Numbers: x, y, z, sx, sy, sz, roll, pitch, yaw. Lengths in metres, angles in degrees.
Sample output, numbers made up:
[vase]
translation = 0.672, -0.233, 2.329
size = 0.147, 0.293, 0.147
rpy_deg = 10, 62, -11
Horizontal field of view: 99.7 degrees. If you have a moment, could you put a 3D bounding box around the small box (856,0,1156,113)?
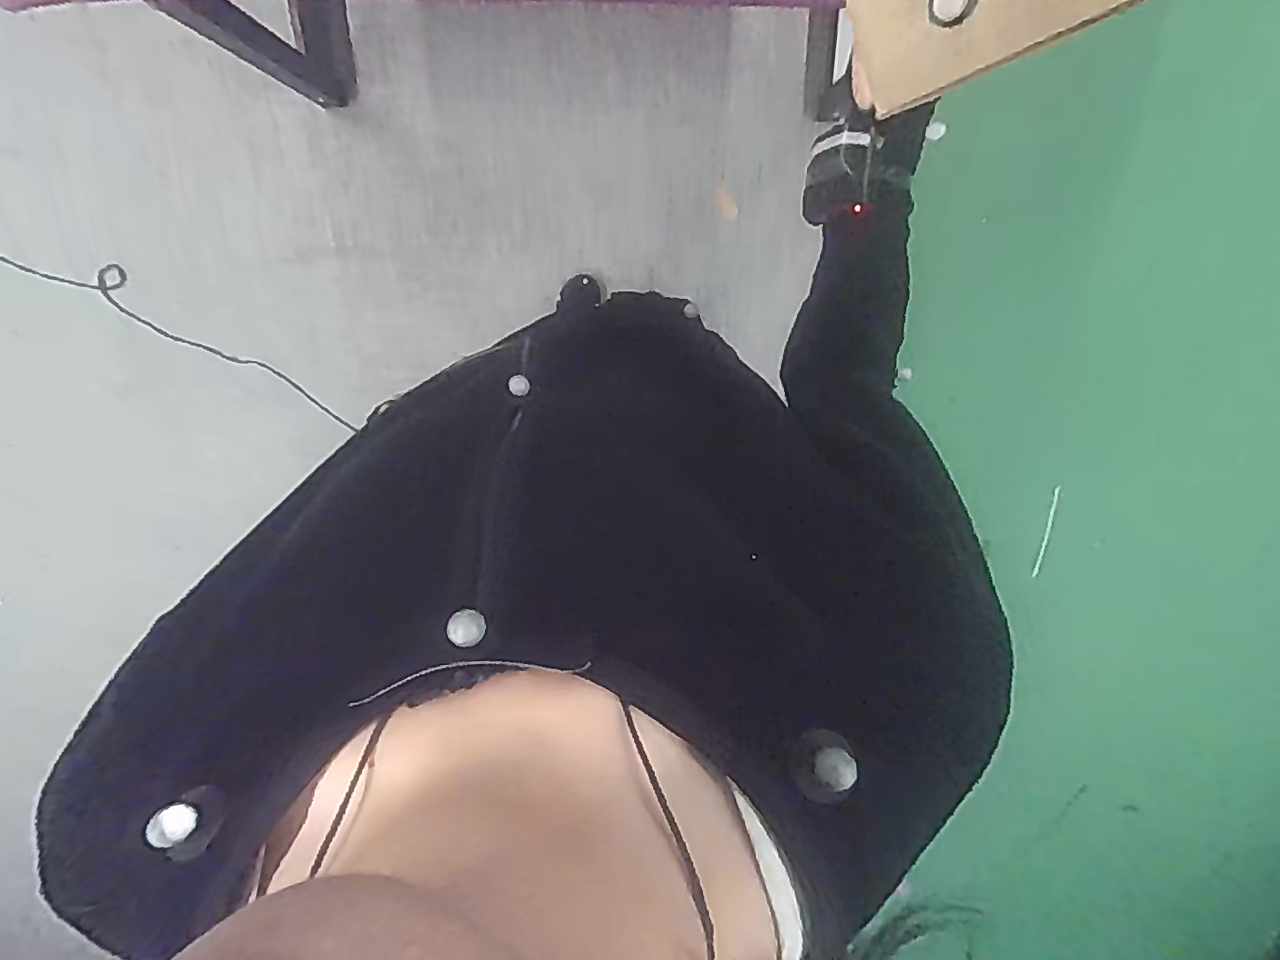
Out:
[small box]
translation = 0.192, -0.328, 0.251
size = 0.179, 0.168, 0.176
rpy_deg = -3, 141, 40
